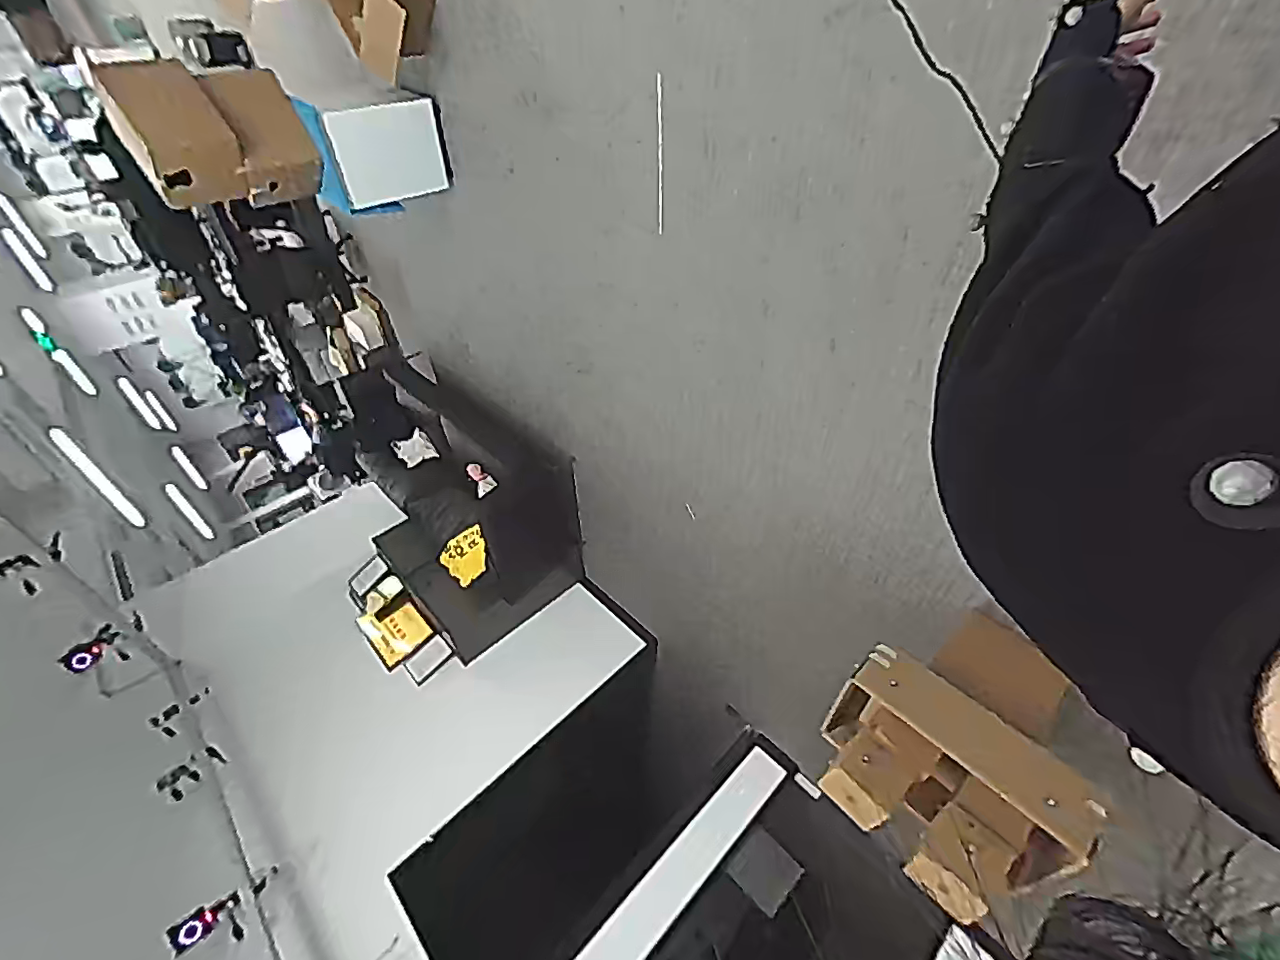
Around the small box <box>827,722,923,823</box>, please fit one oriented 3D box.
[{"bbox_3d":[0.669,0.826,1.536,0.168,0.176,0.179,40,147,28],"label":"small box"}]

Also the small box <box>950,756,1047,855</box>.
[{"bbox_3d":[0.976,0.908,1.487,0.168,0.176,0.179,33,143,35],"label":"small box"}]

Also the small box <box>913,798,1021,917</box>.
[{"bbox_3d":[0.849,0.971,1.402,0.168,0.176,0.179,34,143,35],"label":"small box"}]

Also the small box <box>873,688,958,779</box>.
[{"bbox_3d":[0.801,0.756,1.604,0.168,0.176,0.179,43,147,24],"label":"small box"}]
